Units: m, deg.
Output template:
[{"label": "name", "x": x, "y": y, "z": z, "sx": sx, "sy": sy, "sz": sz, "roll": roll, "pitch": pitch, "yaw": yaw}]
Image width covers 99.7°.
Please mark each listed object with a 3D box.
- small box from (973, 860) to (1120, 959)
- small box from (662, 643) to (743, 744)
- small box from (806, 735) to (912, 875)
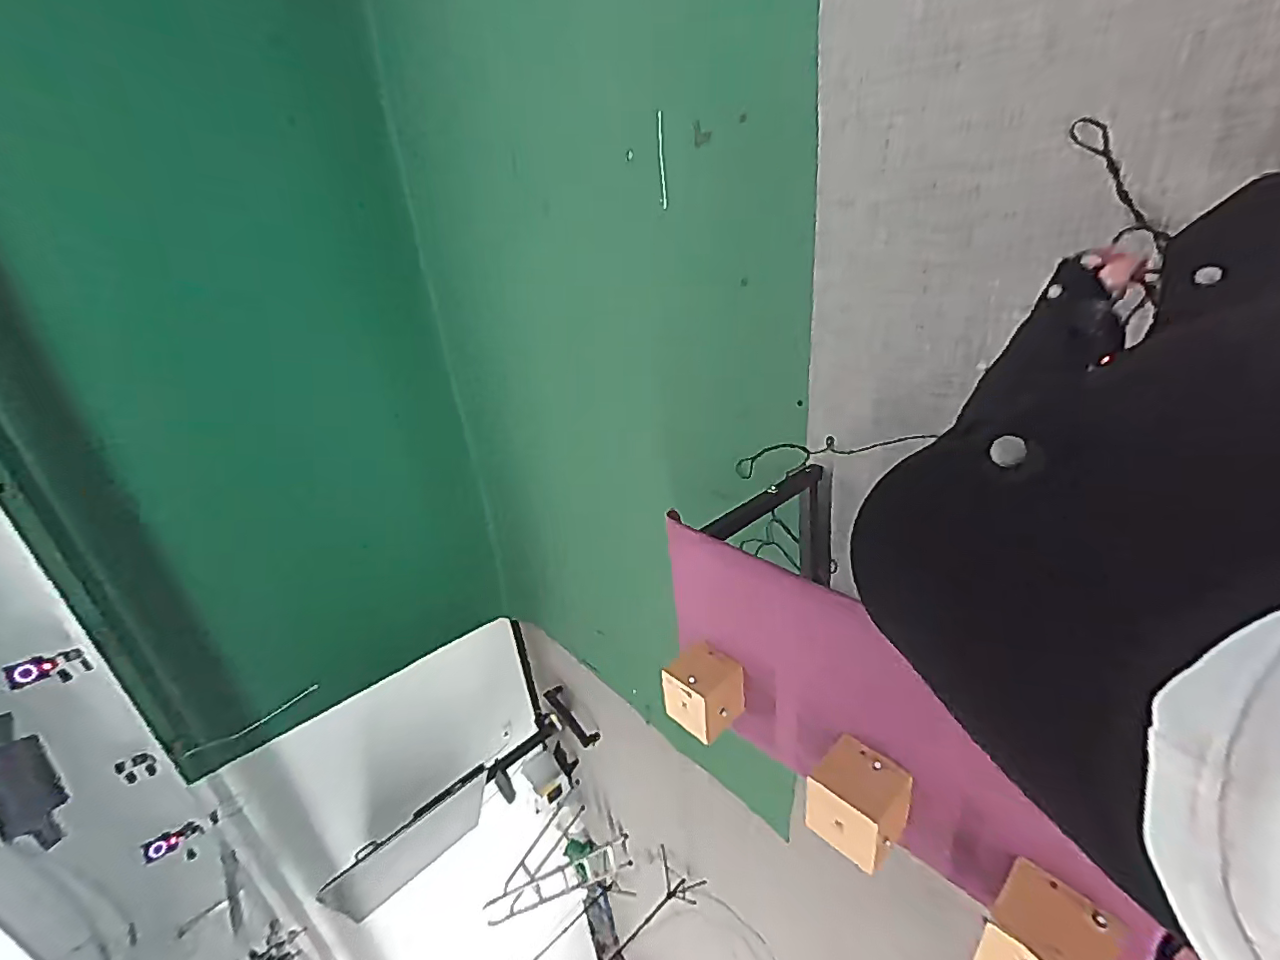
[{"label": "small box", "x": 0.744, "y": 0.859, "z": 0.993, "sx": 0.168, "sy": 0.176, "sz": 0.179, "roll": 23, "pitch": 126, "yaw": 45}, {"label": "small box", "x": 0.187, "y": 0.612, "z": 1.571, "sx": 0.168, "sy": 0.176, "sz": 0.179, "roll": 18, "pitch": 124, "yaw": 45}, {"label": "small box", "x": 0.502, "y": 0.737, "z": 1.241, "sx": 0.168, "sy": 0.176, "sz": 0.179, "roll": 20, "pitch": 124, "yaw": 45}]
